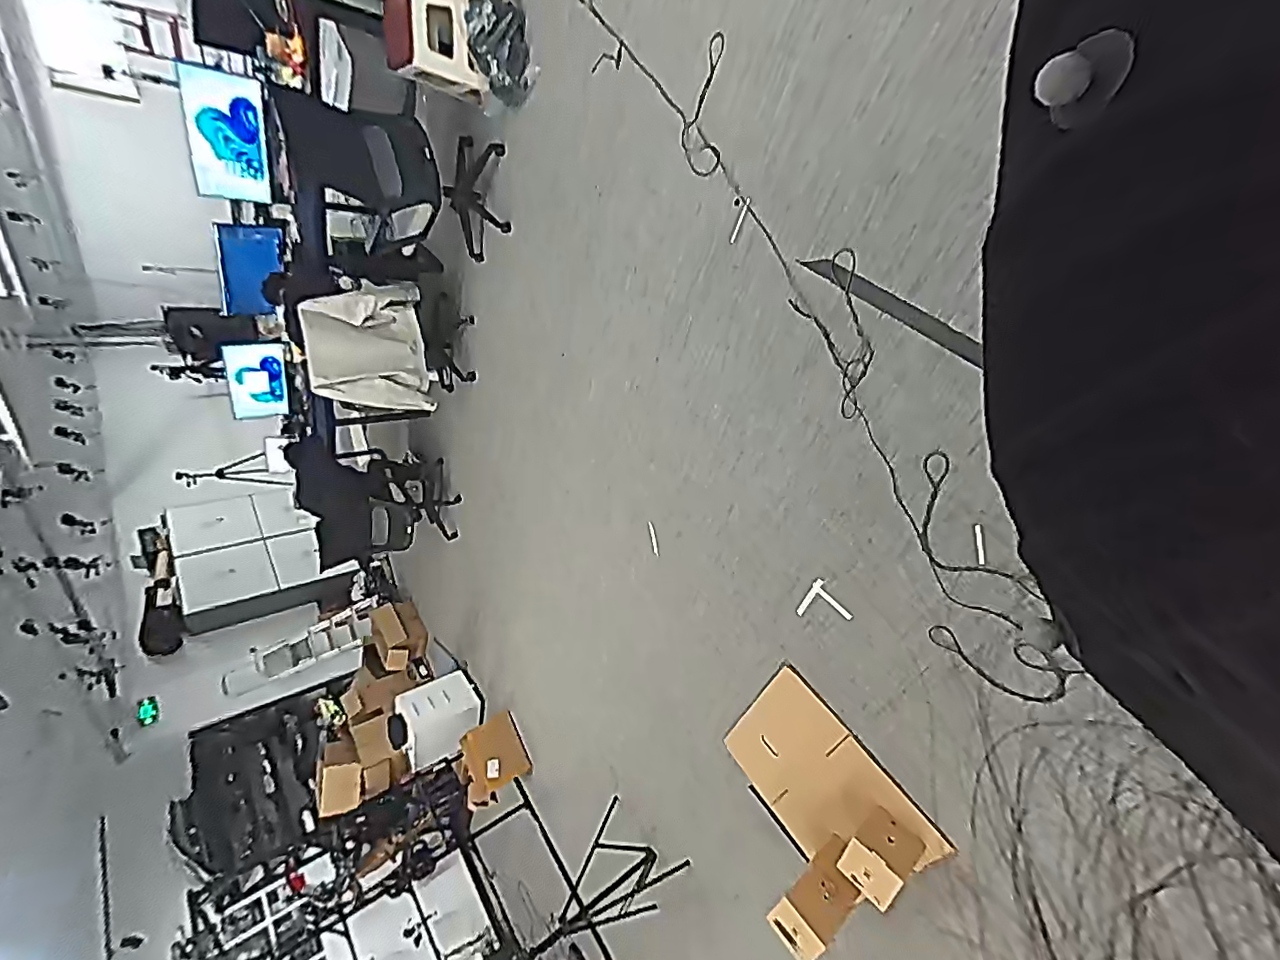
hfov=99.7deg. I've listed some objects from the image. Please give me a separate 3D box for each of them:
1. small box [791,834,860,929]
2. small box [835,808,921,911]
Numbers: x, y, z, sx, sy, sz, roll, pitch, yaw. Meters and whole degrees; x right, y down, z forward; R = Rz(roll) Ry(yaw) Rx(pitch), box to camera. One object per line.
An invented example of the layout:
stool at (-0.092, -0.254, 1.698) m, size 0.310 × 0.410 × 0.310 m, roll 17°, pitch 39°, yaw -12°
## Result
small box at (0.663, 1.388, 1.877) m, size 0.168 × 0.176 × 0.179 m, roll 38°, pitch 128°, yaw 36°
small box at (0.754, 1.186, 1.704) m, size 0.168 × 0.176 × 0.179 m, roll 34°, pitch 125°, yaw 39°
